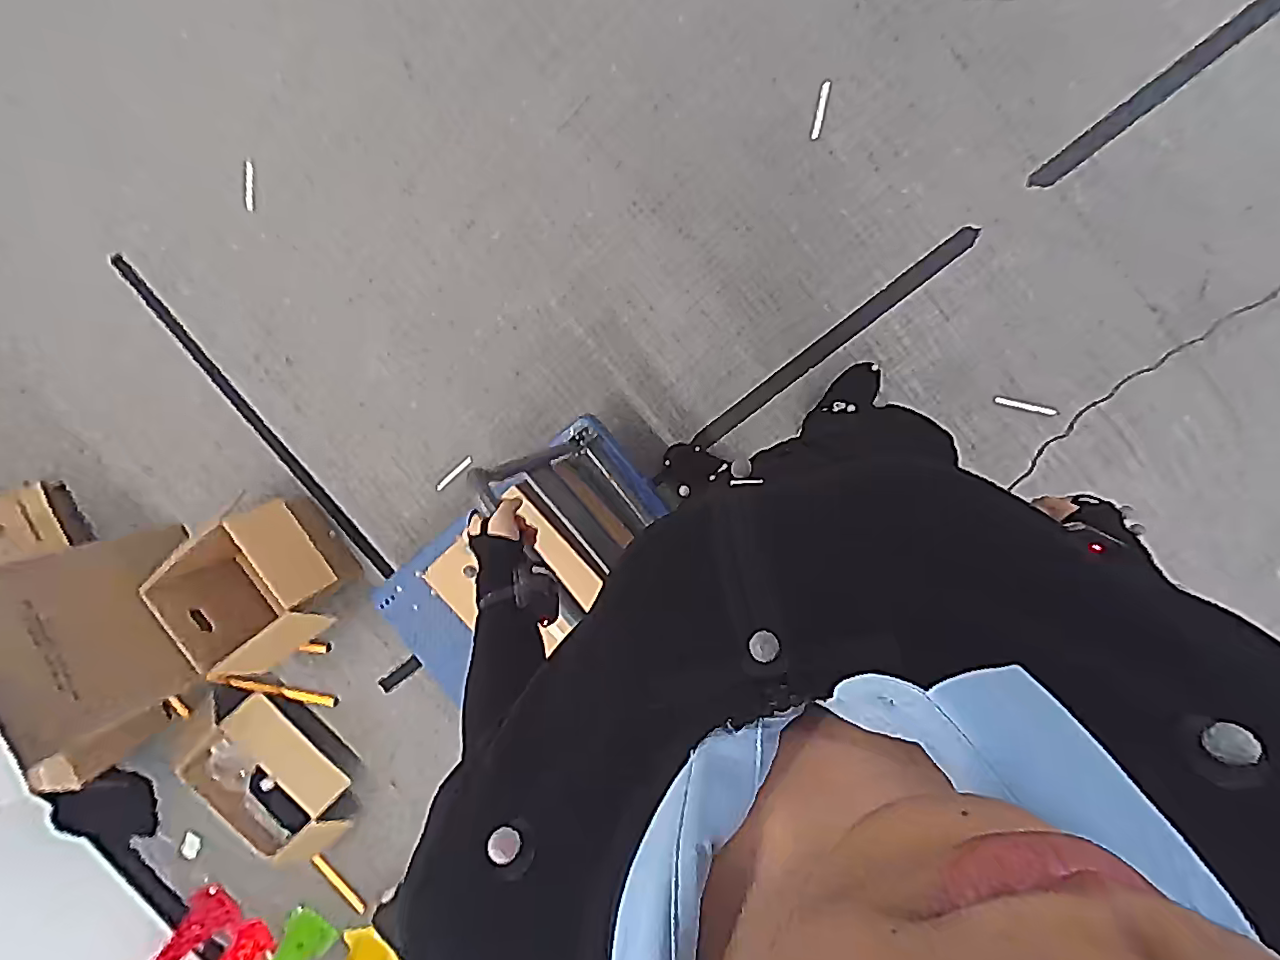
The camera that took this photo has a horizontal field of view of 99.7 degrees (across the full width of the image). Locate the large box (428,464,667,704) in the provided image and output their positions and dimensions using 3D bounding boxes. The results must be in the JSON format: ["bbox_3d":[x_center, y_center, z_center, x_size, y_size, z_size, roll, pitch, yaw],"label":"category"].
[{"bbox_3d":[-0.195,0.226,1.285,0.320,0.320,0.408,-42,91,15],"label":"large box"}]
